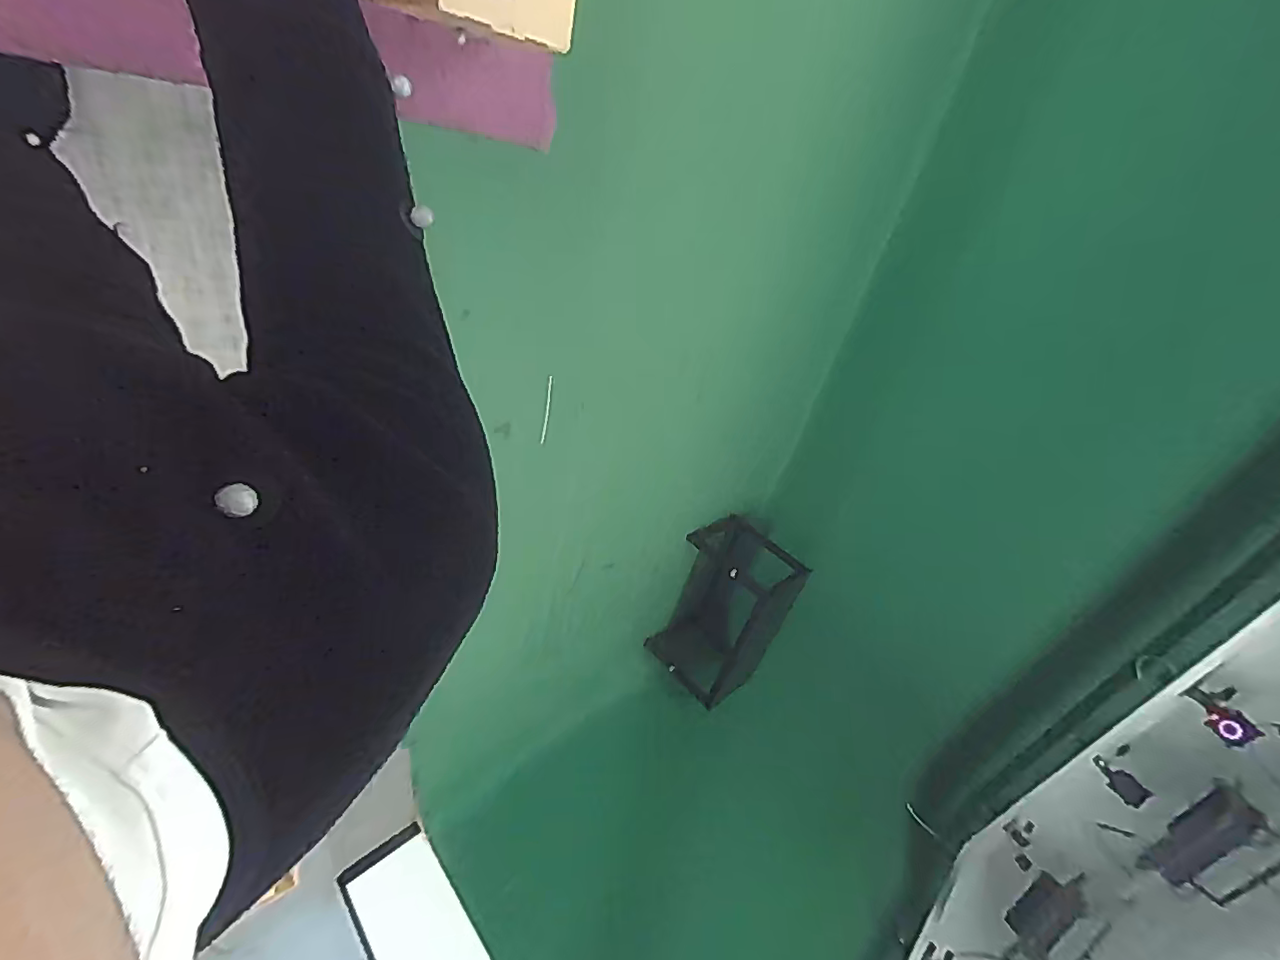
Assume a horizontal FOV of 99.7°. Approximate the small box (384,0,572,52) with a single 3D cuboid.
[{"bbox_3d":[-0.182,-0.607,0.592,0.168,0.176,0.179,-17,135,-41],"label":"small box"}]
